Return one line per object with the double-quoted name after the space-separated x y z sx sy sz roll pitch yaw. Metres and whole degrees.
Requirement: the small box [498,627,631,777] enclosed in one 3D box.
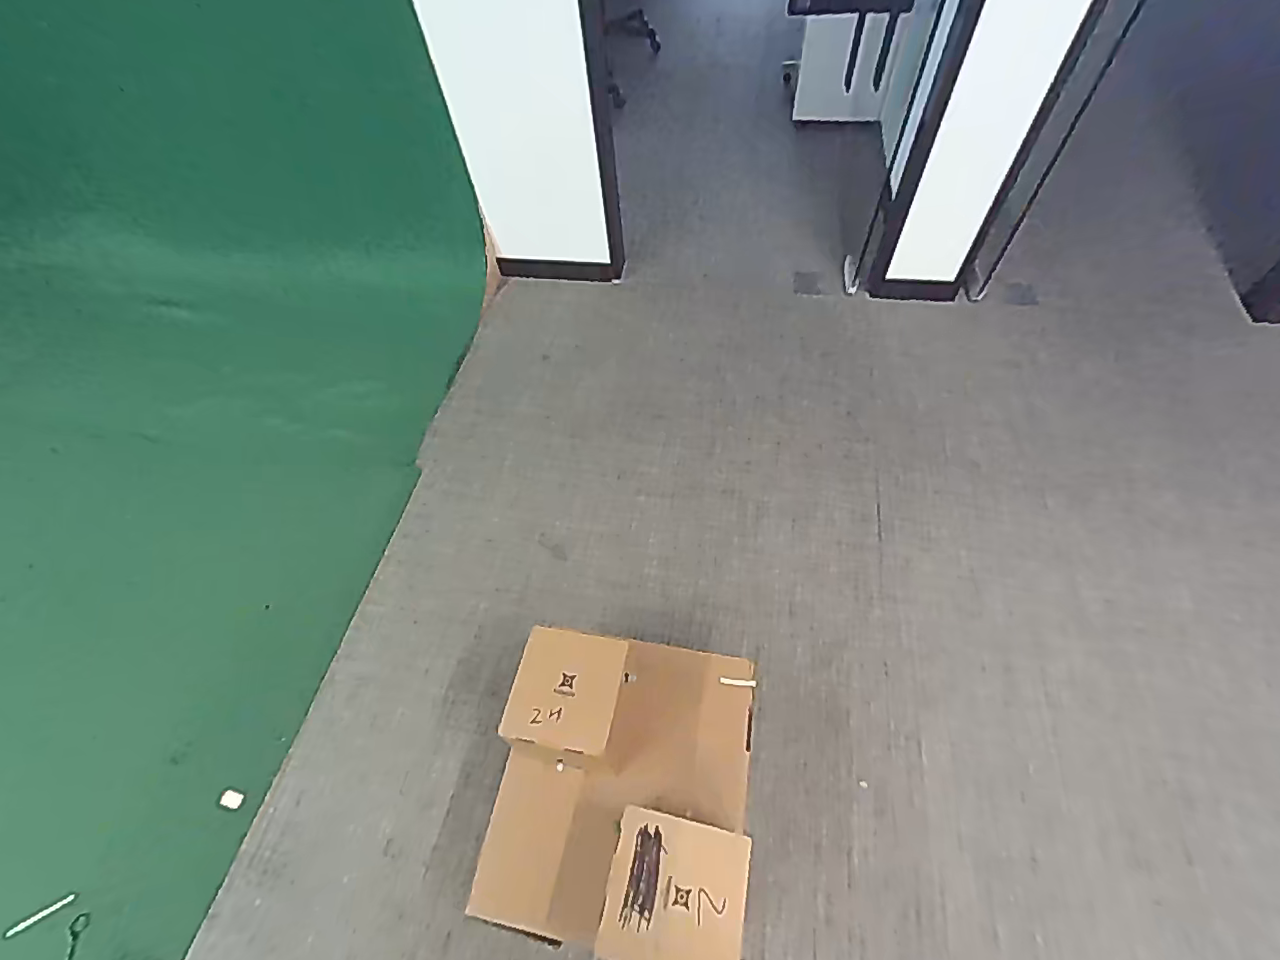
-0.112 0.370 0.899 0.168 0.176 0.179 7 54 10 "small box"
